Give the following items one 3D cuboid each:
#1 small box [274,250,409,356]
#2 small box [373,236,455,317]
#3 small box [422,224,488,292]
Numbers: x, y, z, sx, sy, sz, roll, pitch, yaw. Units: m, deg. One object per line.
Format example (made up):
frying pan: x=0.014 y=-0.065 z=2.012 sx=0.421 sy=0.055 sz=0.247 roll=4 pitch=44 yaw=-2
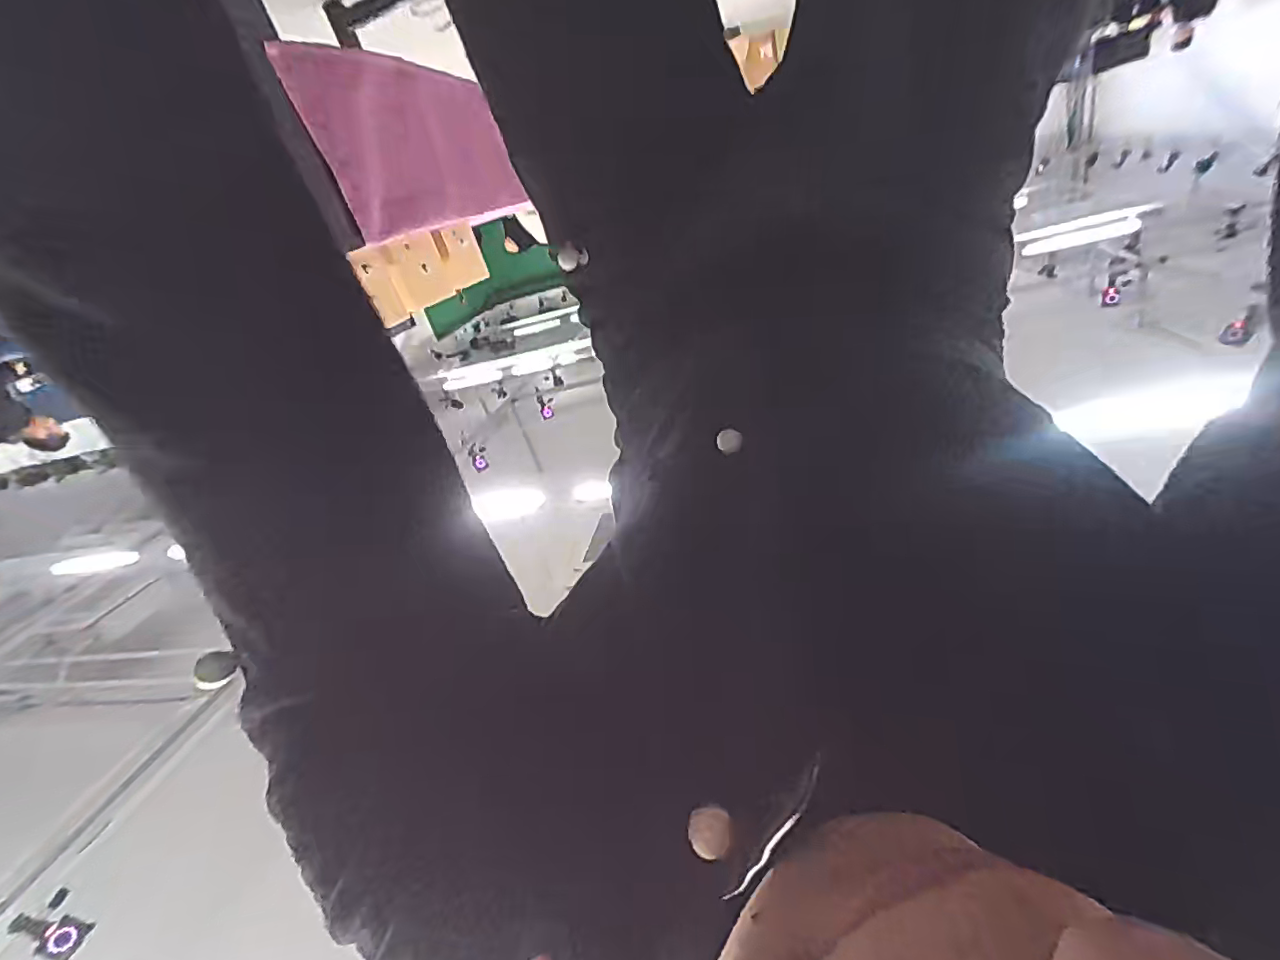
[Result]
small box: x=-0.660 y=-0.394 z=1.194 sx=0.179 sy=0.176 sz=0.168 roll=-7 pitch=-149 yaw=20
small box: x=-0.633 y=-0.532 z=1.427 sx=0.179 sy=0.176 sz=0.168 roll=-4 pitch=-149 yaw=25
small box: x=-0.600 y=-0.663 z=1.643 sx=0.179 sy=0.176 sz=0.168 roll=-8 pitch=-150 yaw=21
